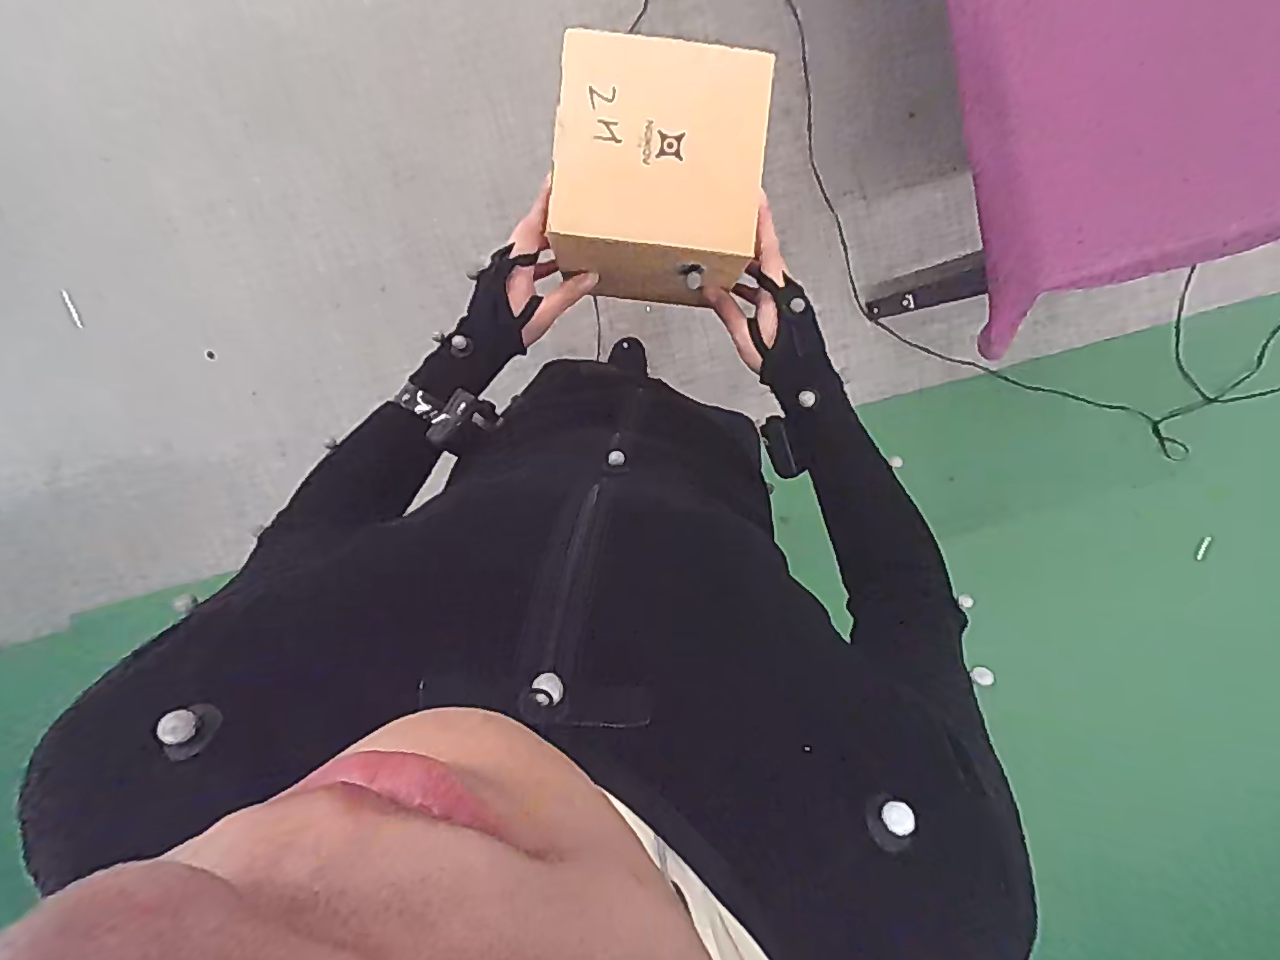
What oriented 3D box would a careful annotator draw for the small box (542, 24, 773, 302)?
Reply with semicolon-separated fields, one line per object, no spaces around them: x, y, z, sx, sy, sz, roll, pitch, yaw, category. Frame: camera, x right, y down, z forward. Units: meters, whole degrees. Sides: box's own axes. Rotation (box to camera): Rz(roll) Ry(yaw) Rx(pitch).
0.012;-0.280;0.521;0.179;0.176;0.168;6;92;-1;small box
